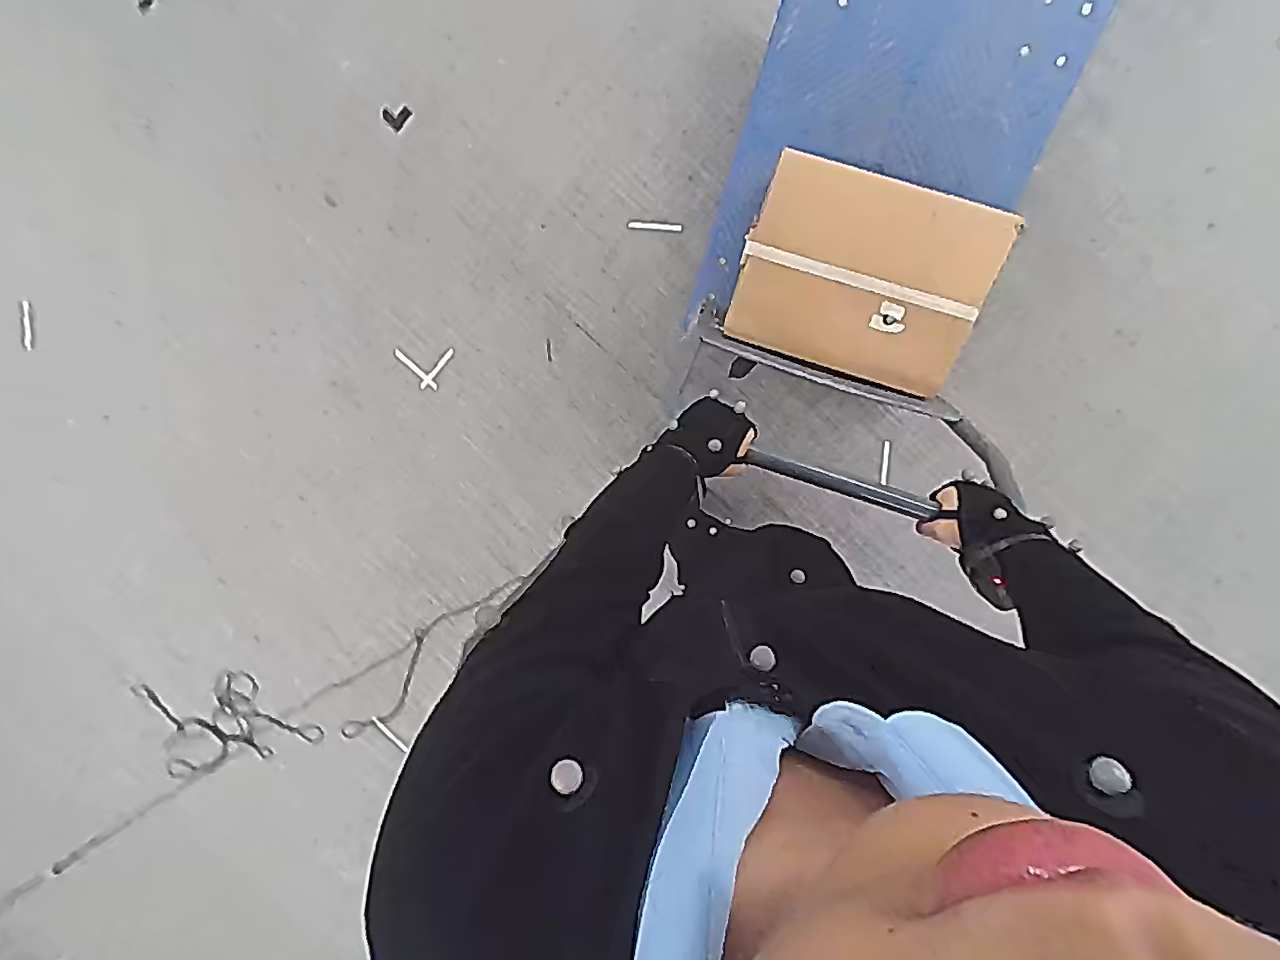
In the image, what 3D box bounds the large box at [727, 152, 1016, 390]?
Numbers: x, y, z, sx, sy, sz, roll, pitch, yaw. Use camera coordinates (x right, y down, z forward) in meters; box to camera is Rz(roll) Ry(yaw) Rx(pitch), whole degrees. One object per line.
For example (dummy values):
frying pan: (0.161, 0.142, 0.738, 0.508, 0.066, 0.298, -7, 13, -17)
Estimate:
large box: (0.409, -0.409, 1.085, 0.408, 0.320, 0.320, 18, 114, 2)
